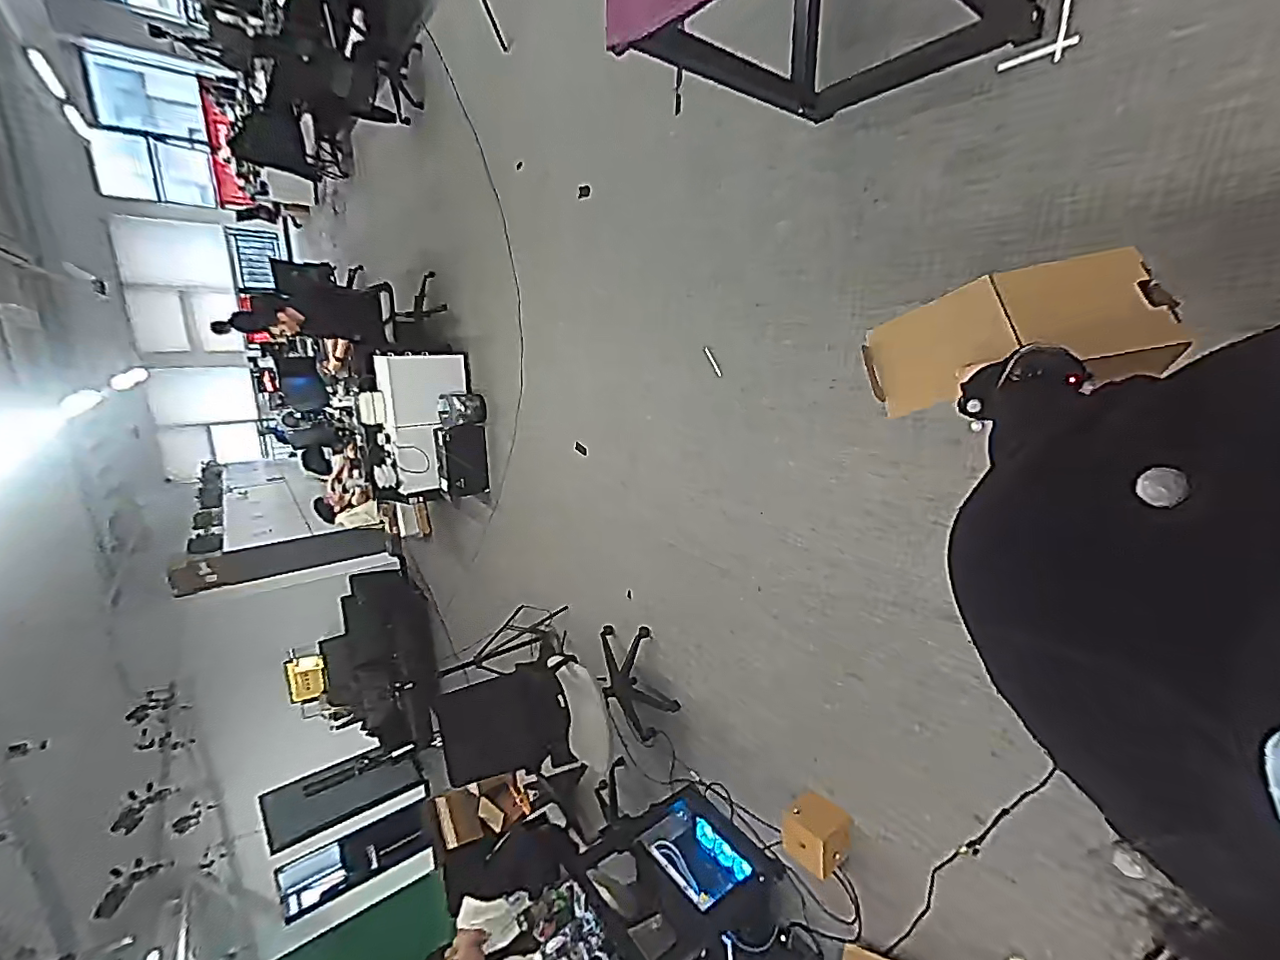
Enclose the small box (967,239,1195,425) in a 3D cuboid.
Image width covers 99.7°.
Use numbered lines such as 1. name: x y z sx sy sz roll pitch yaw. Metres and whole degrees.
1. small box: 0.580 -0.192 0.749 0.176 0.179 0.168 57 -154 -62
